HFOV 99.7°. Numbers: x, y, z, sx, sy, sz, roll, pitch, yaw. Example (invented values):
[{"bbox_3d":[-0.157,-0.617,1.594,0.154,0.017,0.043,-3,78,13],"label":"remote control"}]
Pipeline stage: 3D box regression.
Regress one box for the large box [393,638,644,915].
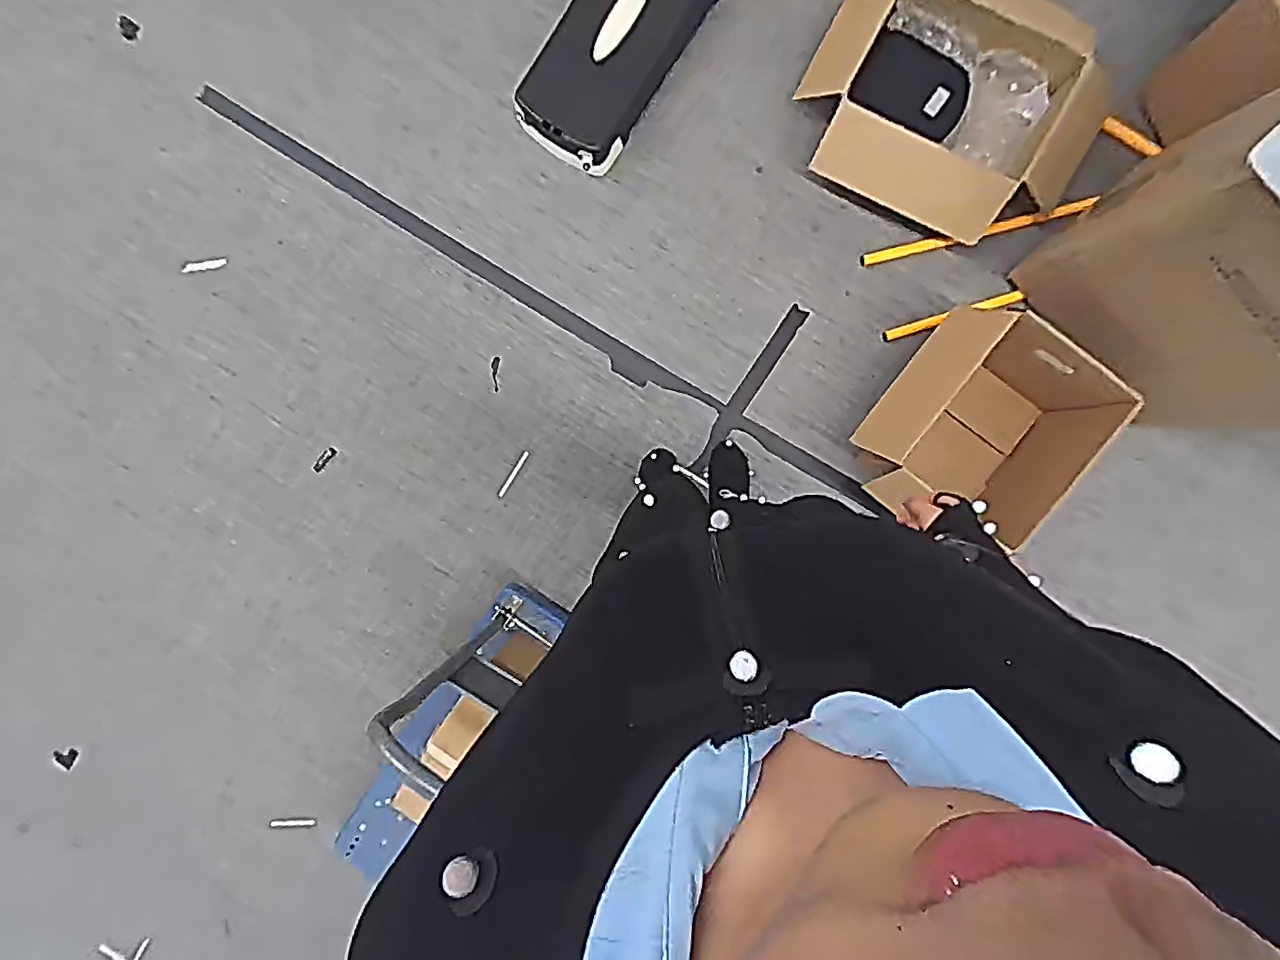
[{"bbox_3d":[-0.245,0.637,1.227,0.408,0.320,0.320,34,94,3],"label":"large box"}]
